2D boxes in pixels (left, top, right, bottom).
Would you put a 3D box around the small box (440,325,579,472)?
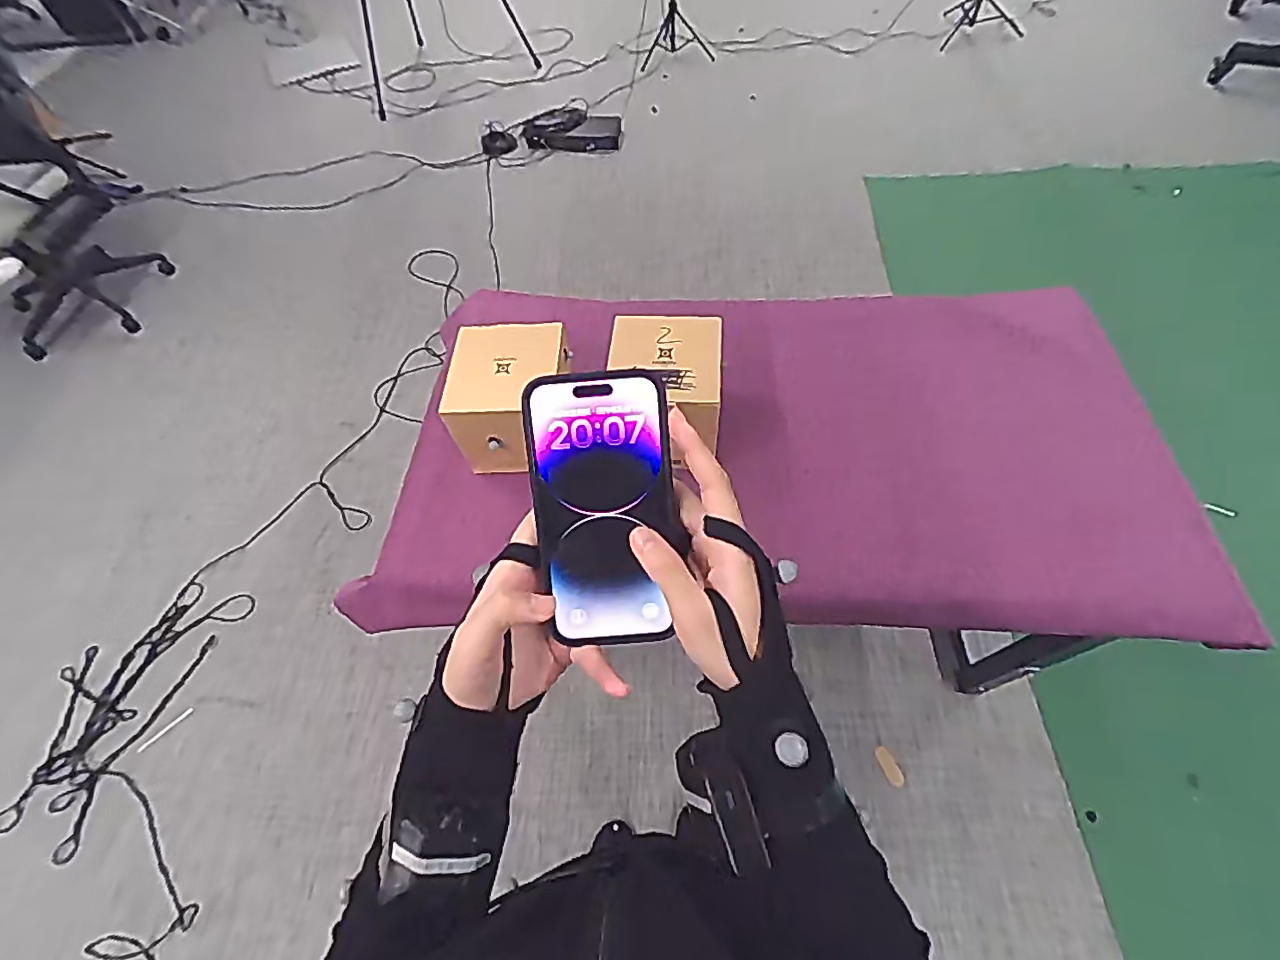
[{"bbox_3d":[-0.195,-0.122,0.868,0.168,0.176,0.179,-2,57,3],"label":"small box"}]
